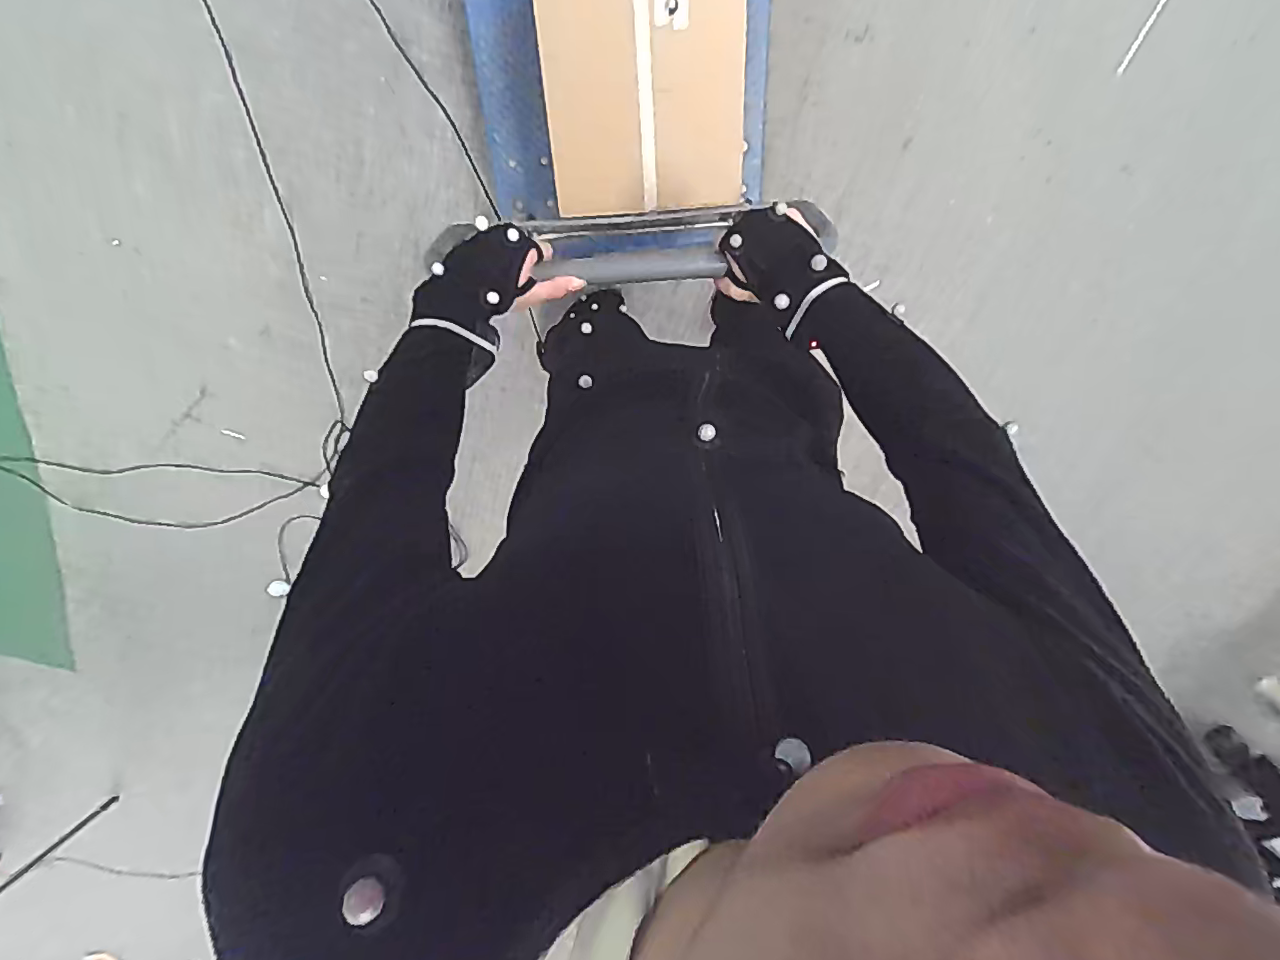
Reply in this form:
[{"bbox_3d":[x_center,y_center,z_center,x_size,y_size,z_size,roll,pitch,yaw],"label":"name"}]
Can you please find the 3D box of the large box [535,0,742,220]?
[{"bbox_3d":[0.006,-0.712,0.977,0.320,0.320,0.408,-4,119,2],"label":"large box"}]
